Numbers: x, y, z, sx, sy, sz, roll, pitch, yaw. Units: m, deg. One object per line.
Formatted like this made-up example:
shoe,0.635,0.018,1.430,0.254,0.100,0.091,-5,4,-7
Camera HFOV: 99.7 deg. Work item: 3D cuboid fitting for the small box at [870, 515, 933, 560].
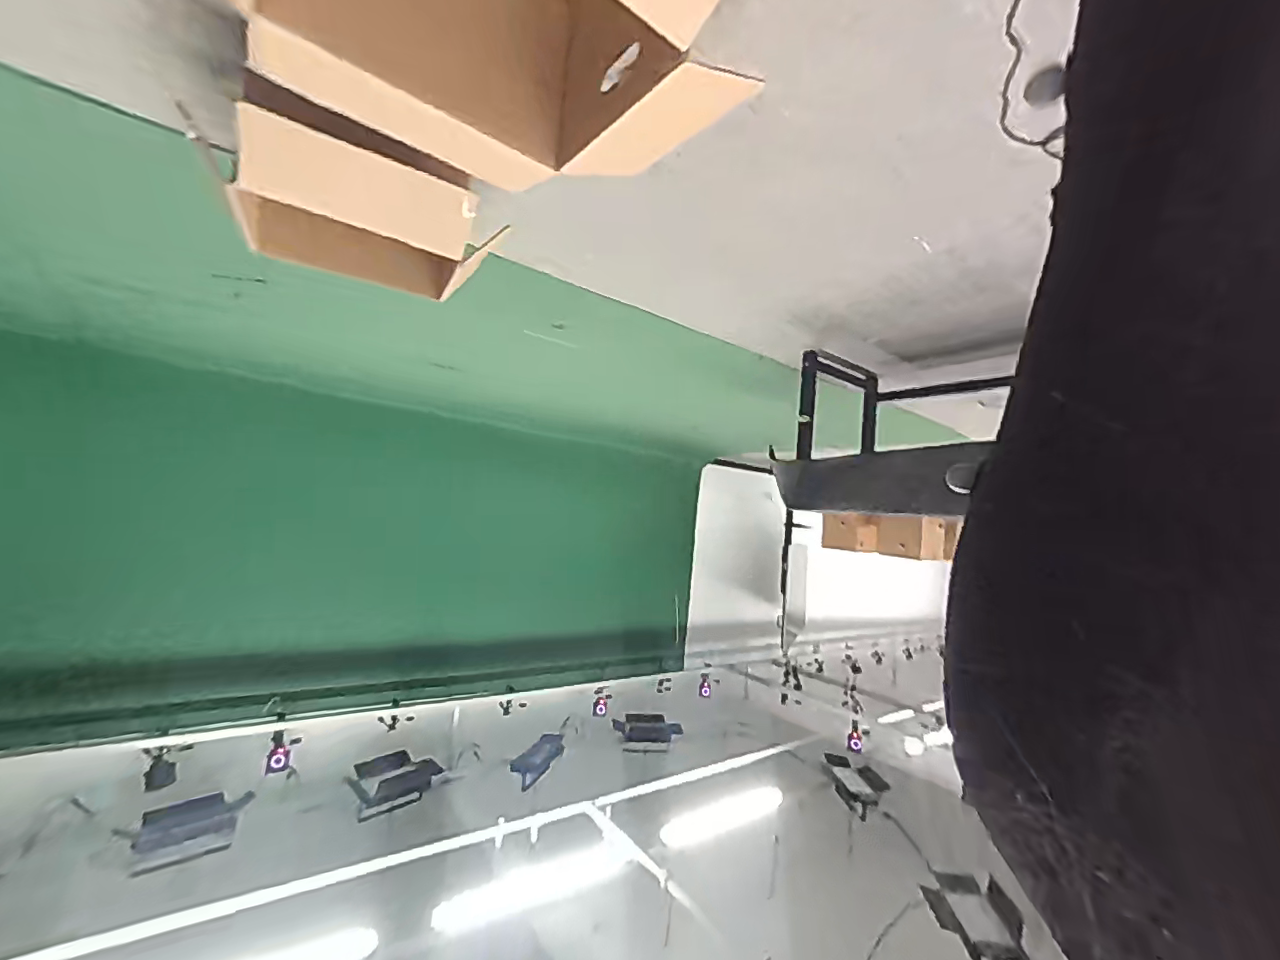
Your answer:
small box,1.046,0.226,2.159,0.168,0.176,0.179,8,175,-34

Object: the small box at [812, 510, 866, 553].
small box,0.871,0.225,2.354,0.179,0.176,0.168,8,174,-40
